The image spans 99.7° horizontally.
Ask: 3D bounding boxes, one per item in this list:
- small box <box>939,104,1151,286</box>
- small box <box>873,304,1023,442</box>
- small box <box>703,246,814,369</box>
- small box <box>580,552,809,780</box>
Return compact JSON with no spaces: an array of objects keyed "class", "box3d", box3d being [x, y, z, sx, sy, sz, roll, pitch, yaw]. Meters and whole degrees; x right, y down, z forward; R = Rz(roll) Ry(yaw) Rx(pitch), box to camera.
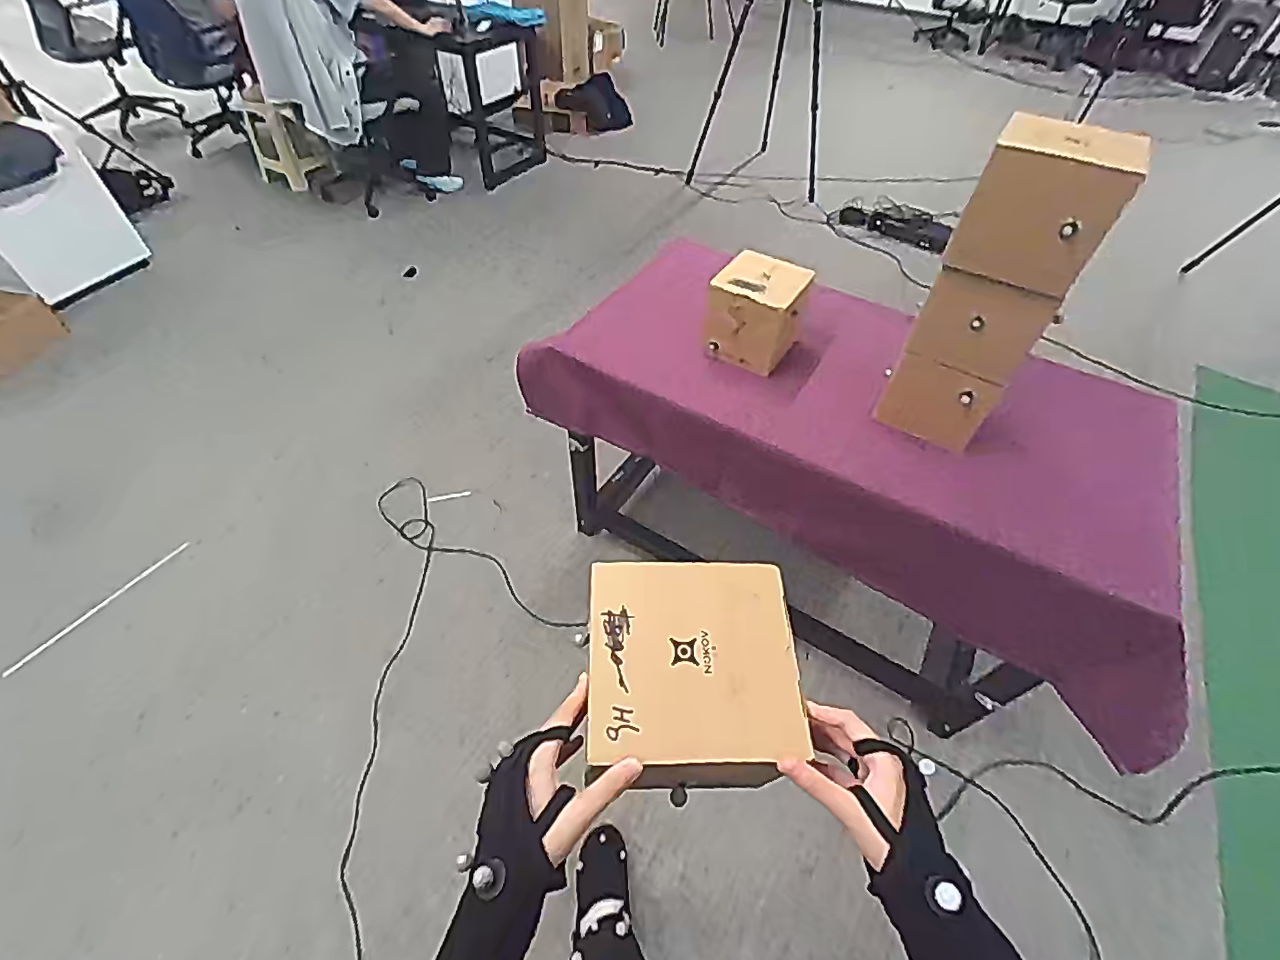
[{"class":"small box","box3d":[0.570,-0.404,0.775,0.179,0.176,0.168,27,54,20]},{"class":"small box","box3d":[0.579,-0.199,1.030,0.179,0.176,0.168,28,55,20]},{"class":"small box","box3d":[0.247,-0.366,1.158,0.168,0.176,0.179,27,54,18]},{"class":"small box","box3d":[0.035,0.183,0.516,0.179,0.176,0.168,2,54,-5]}]
